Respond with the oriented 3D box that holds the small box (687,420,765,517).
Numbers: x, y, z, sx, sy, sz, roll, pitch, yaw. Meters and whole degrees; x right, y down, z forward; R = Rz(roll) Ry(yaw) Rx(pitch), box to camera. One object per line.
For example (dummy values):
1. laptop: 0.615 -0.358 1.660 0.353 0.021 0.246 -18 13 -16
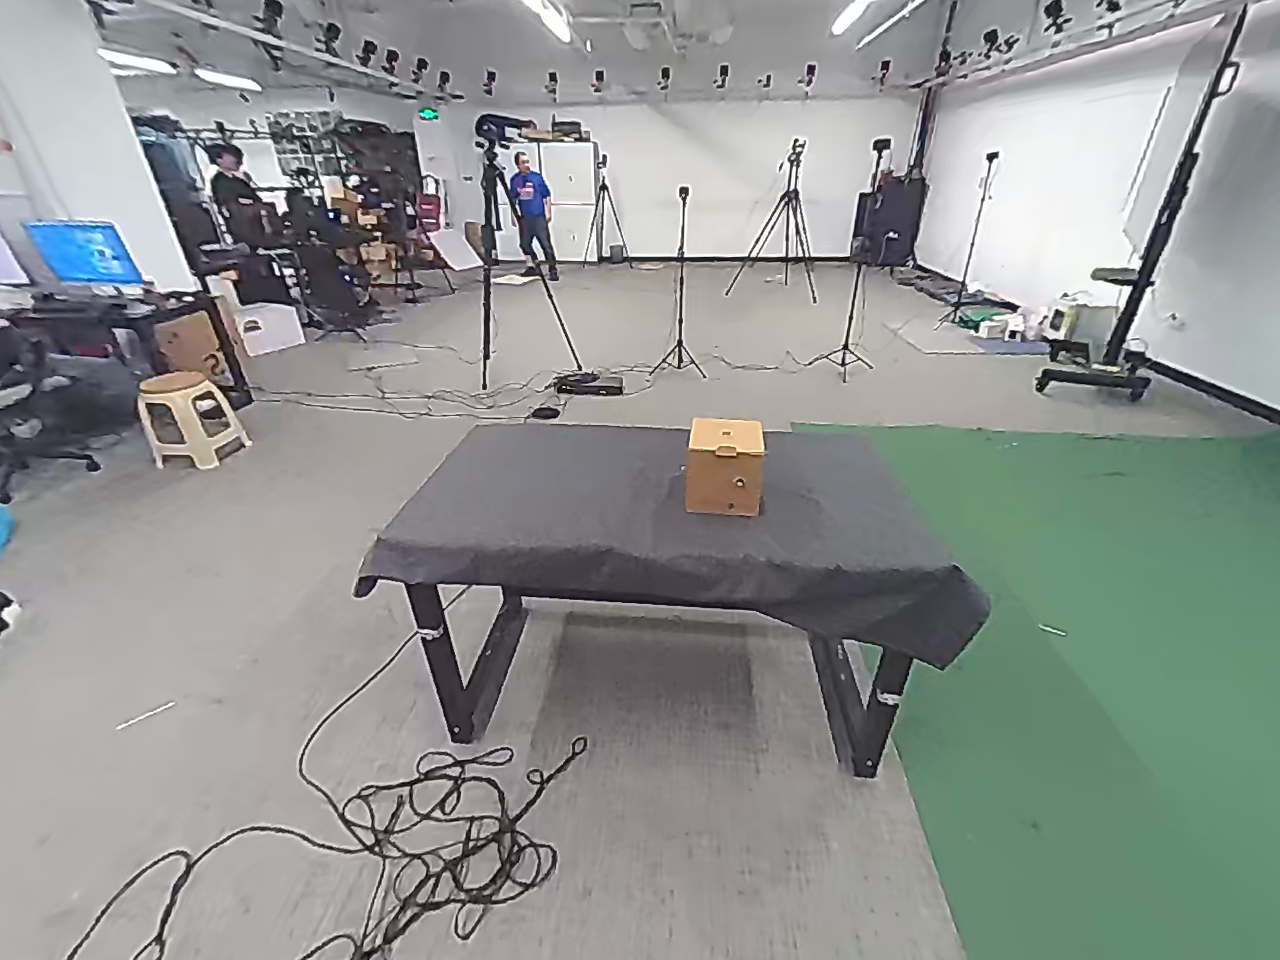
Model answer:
1. small box: 0.200 -0.028 1.269 0.168 0.176 0.179 4 29 7
